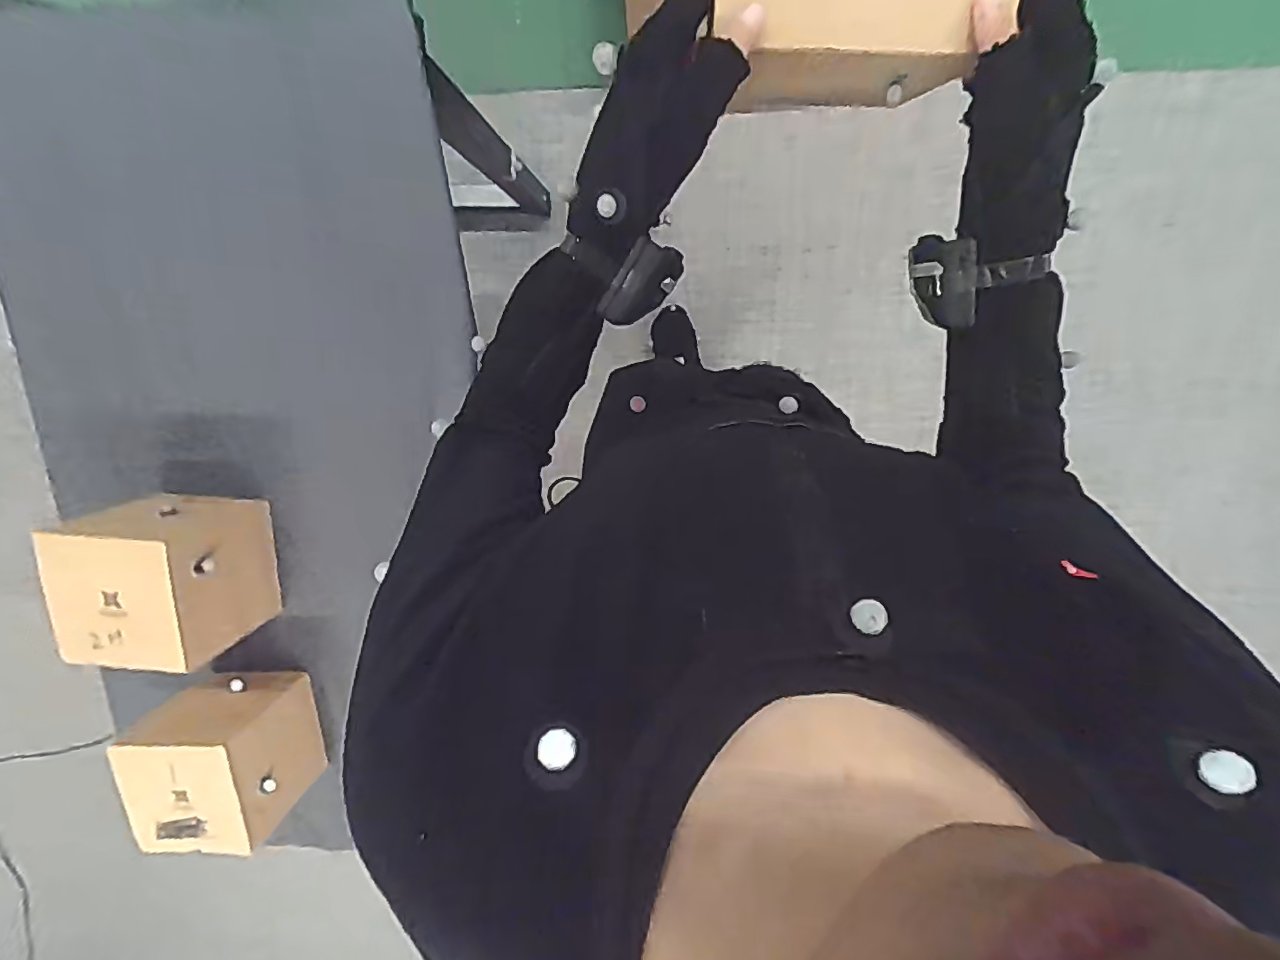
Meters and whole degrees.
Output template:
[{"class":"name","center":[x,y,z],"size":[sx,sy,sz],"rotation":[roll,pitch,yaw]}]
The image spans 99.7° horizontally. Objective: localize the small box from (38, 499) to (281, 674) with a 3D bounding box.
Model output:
[{"class":"small box","center":[-0.622,0.130,0.725],"size":[0.168,0.176,0.179],"rotation":[4,105,3]}]

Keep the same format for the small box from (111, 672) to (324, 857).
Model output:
[{"class":"small box","center":[-0.600,0.408,0.796],"size":[0.168,0.176,0.179],"rotation":[-2,103,4]}]
